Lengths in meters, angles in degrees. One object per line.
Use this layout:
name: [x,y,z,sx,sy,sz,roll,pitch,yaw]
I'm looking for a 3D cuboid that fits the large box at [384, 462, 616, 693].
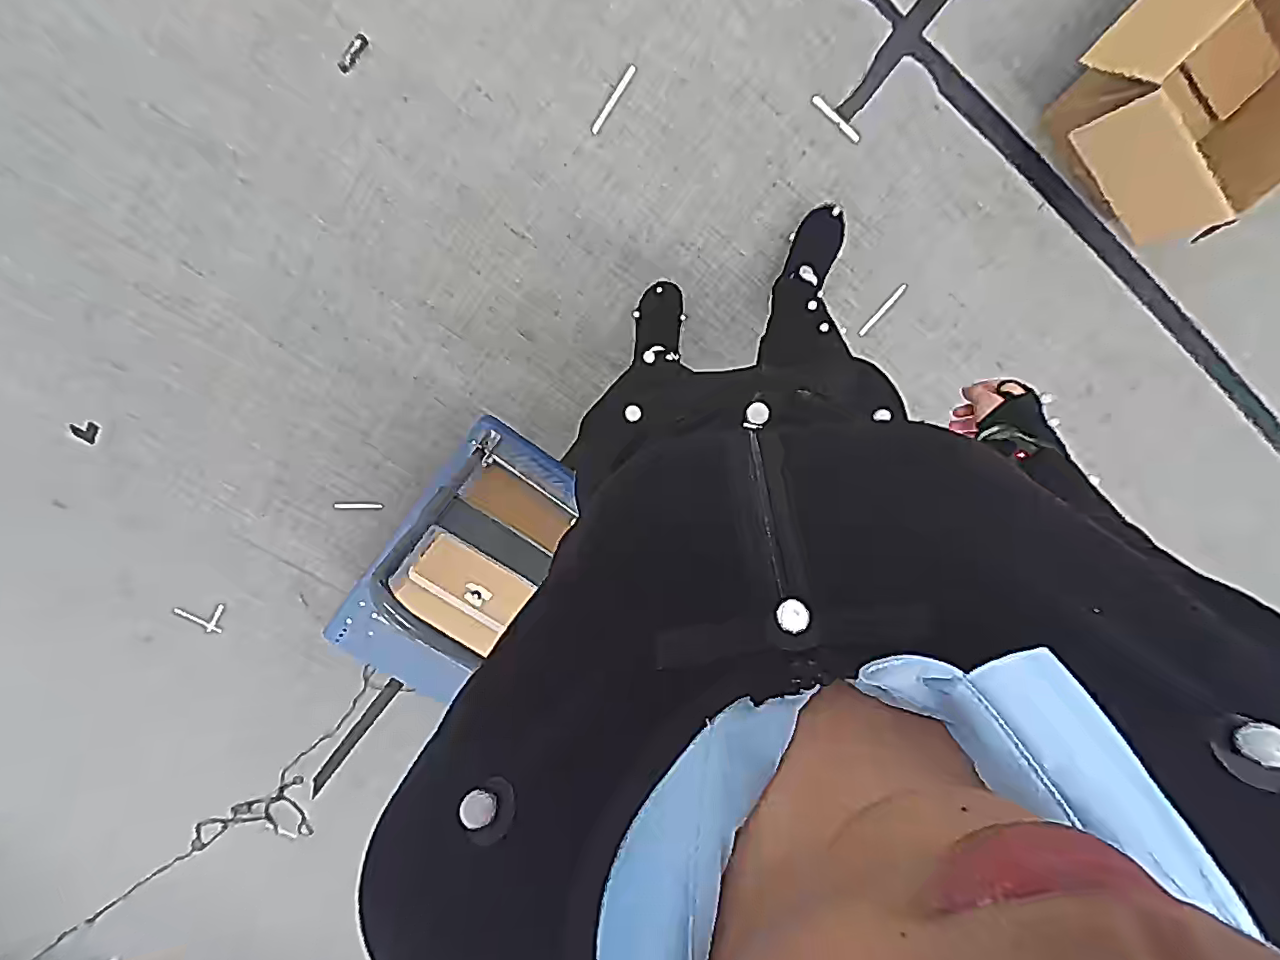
large box: [-0.312,0.228,1.320,0.408,0.320,0.320,37,109,-14]
